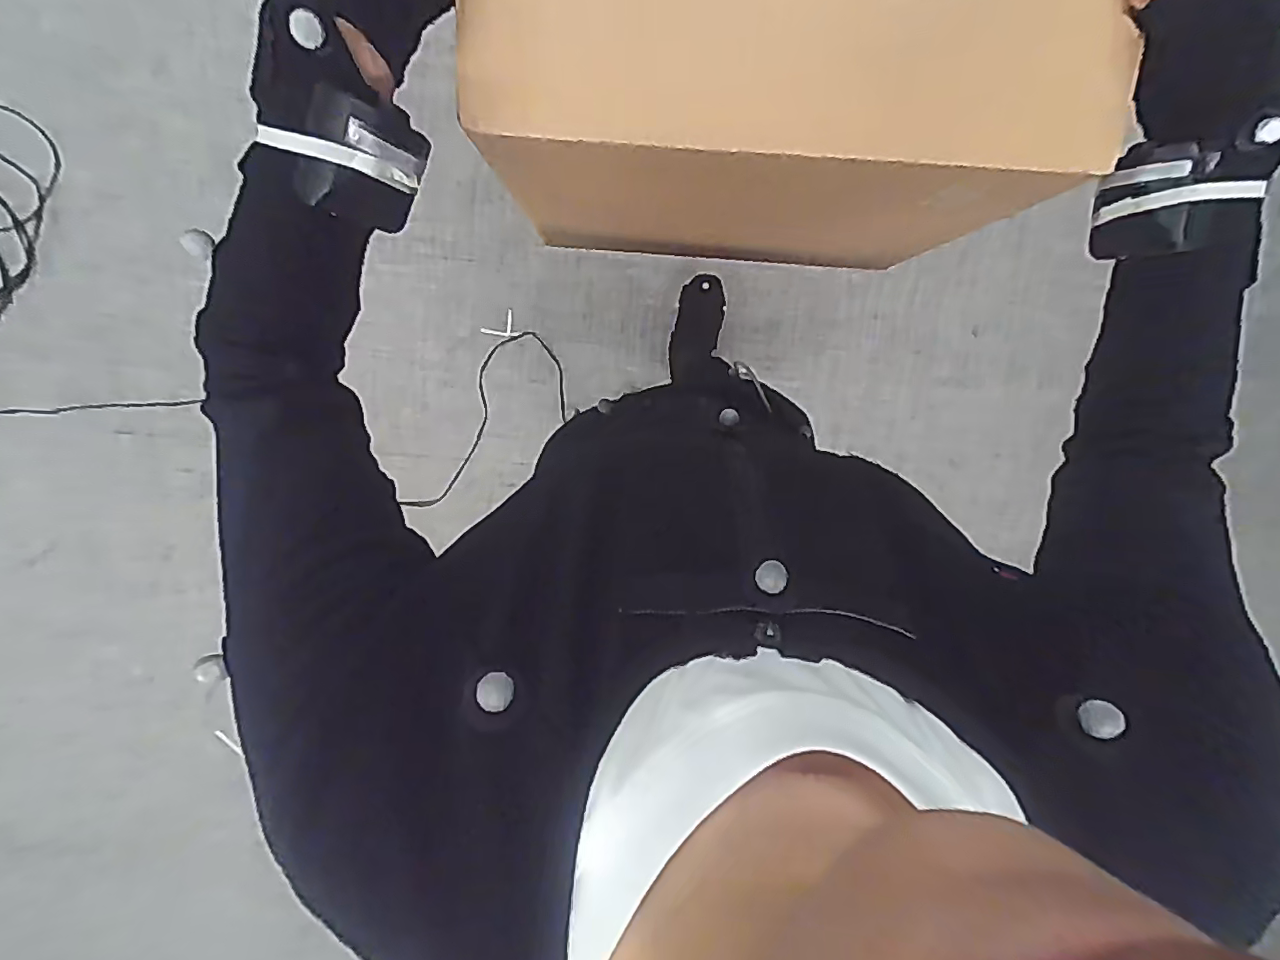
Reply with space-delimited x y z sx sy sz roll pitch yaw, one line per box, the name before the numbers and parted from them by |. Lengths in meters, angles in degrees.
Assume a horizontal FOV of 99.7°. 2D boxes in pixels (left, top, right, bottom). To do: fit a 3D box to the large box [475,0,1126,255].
large box | 0.098 -0.391 0.461 0.408 0.320 0.320 3 102 -1
